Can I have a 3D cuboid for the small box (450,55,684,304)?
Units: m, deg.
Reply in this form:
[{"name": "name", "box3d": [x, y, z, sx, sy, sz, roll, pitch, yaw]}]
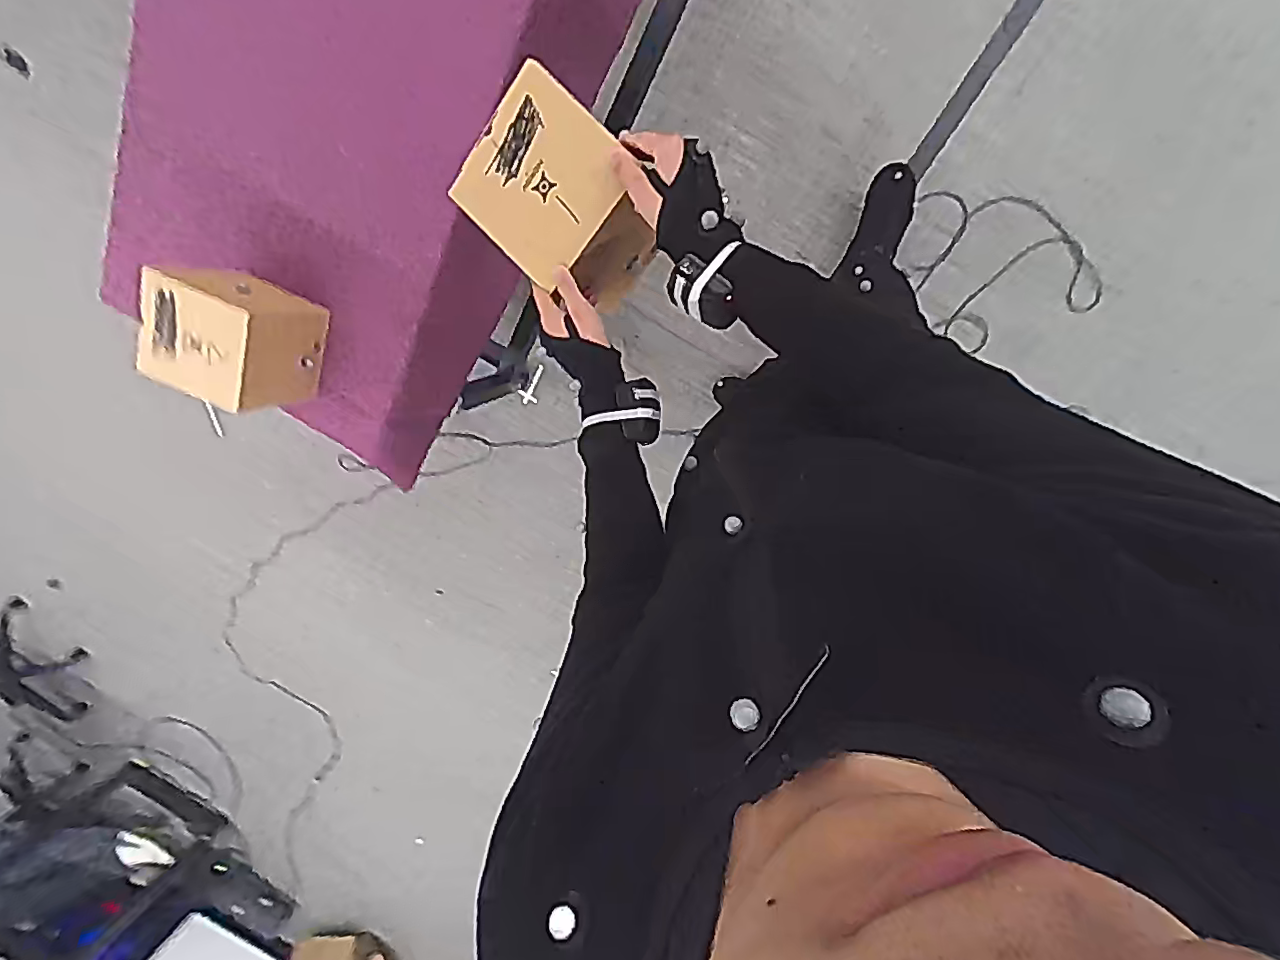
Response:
[{"name": "small box", "box3d": [-0.077, -0.330, 0.640, 0.179, 0.176, 0.168, 47, 113, 7]}]
